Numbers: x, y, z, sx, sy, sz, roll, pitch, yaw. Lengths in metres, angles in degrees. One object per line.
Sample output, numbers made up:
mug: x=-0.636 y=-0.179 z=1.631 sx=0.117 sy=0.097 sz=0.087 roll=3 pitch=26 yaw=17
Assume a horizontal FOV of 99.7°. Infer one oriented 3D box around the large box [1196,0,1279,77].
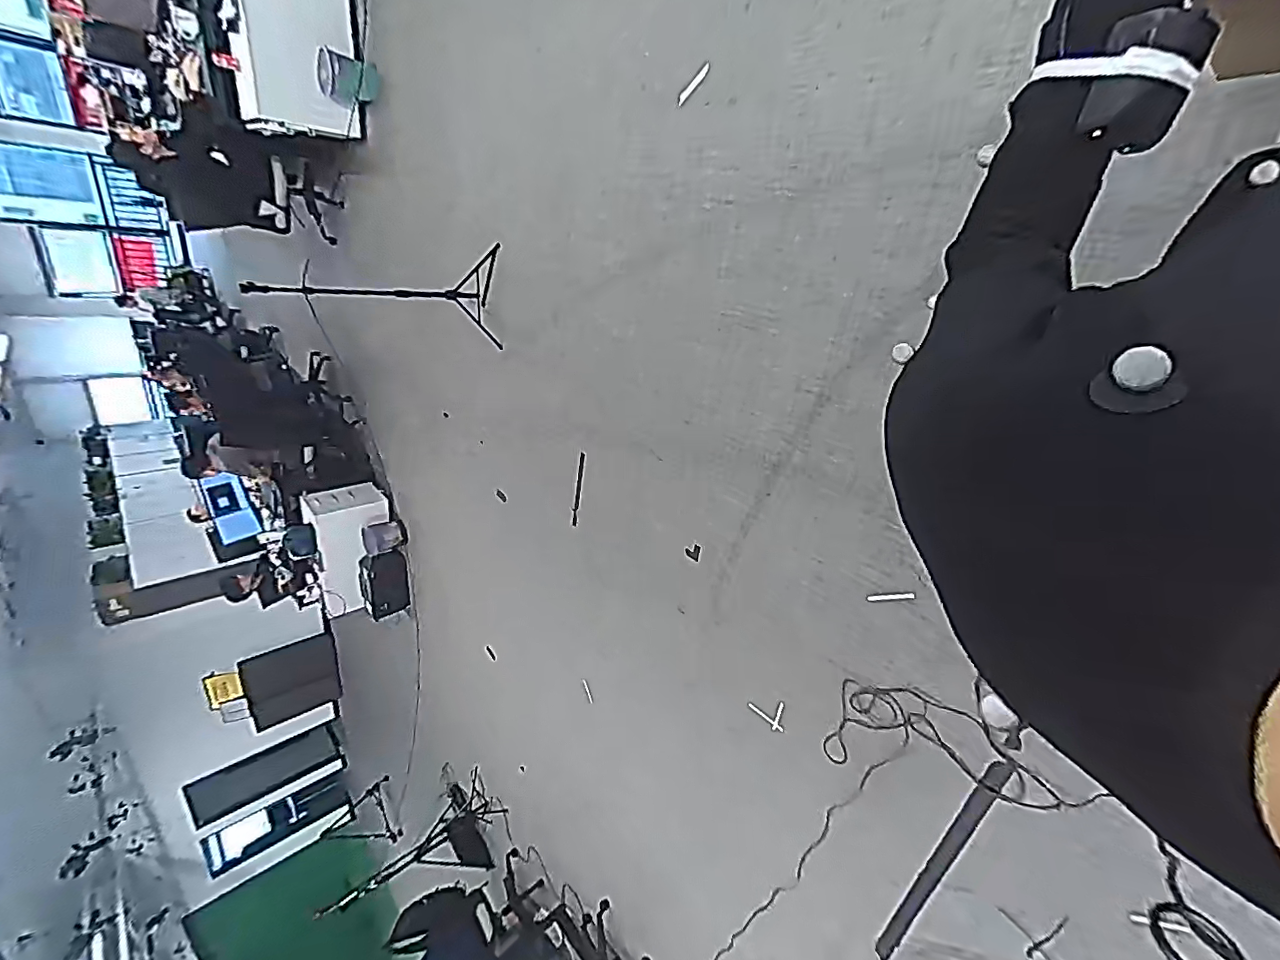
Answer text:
large box: x=0.583 y=-0.433 z=0.243 sx=0.408 sy=0.320 sz=0.320 roll=23 pitch=124 yaw=41
